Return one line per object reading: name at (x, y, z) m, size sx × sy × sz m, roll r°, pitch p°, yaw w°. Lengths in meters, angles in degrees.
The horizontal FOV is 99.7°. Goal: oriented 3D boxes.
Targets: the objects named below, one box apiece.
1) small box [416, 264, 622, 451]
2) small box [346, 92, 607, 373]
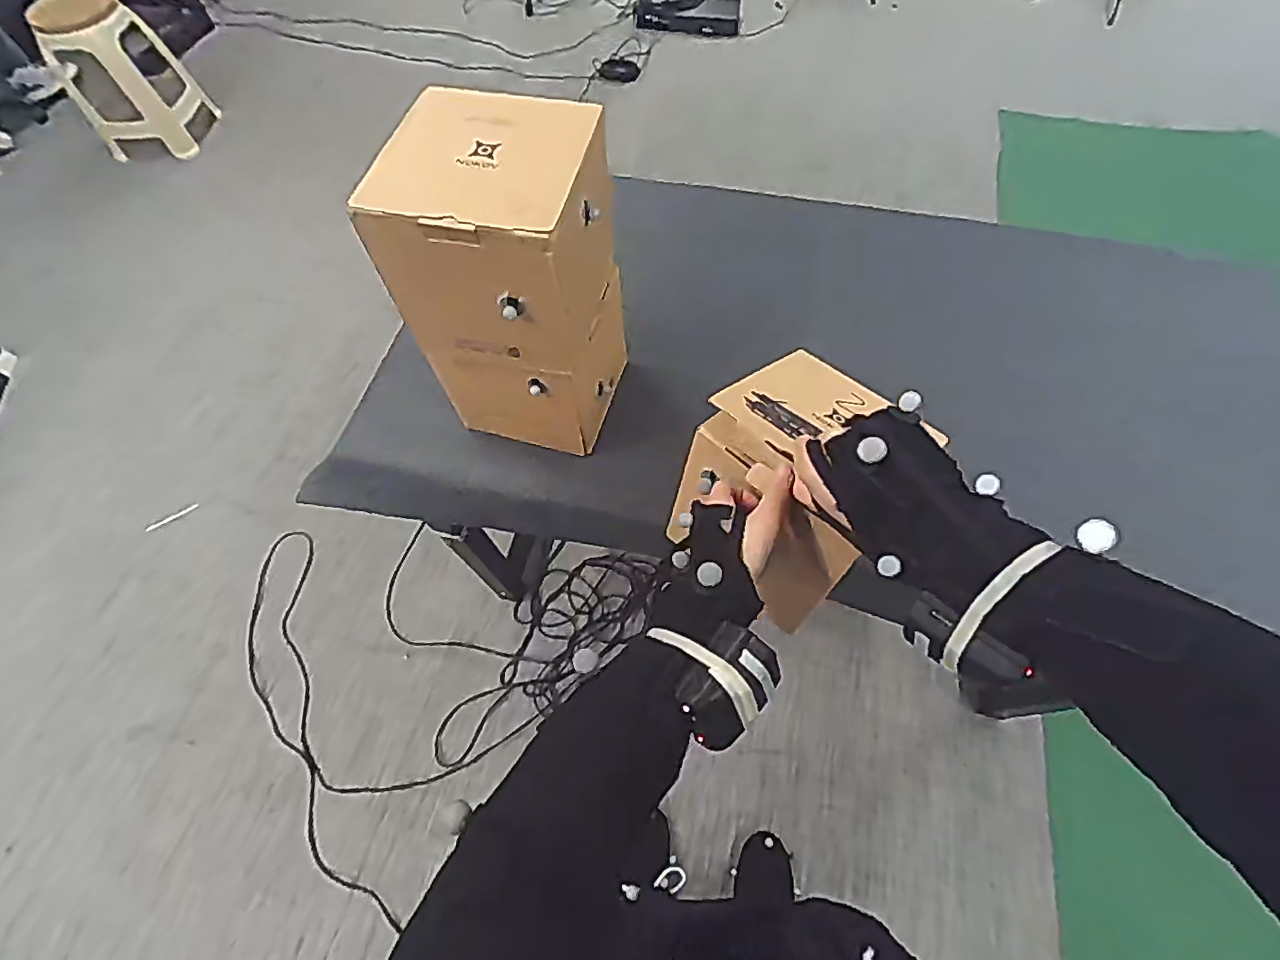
small box at (-0.129, -0.155, 0.659) m, size 0.179 × 0.176 × 0.168 m, roll 14°, pitch 63°, yaw 9°
small box at (-0.129, -0.225, 0.513) m, size 0.168 × 0.176 × 0.179 m, roll 10°, pitch 61°, yaw 5°
